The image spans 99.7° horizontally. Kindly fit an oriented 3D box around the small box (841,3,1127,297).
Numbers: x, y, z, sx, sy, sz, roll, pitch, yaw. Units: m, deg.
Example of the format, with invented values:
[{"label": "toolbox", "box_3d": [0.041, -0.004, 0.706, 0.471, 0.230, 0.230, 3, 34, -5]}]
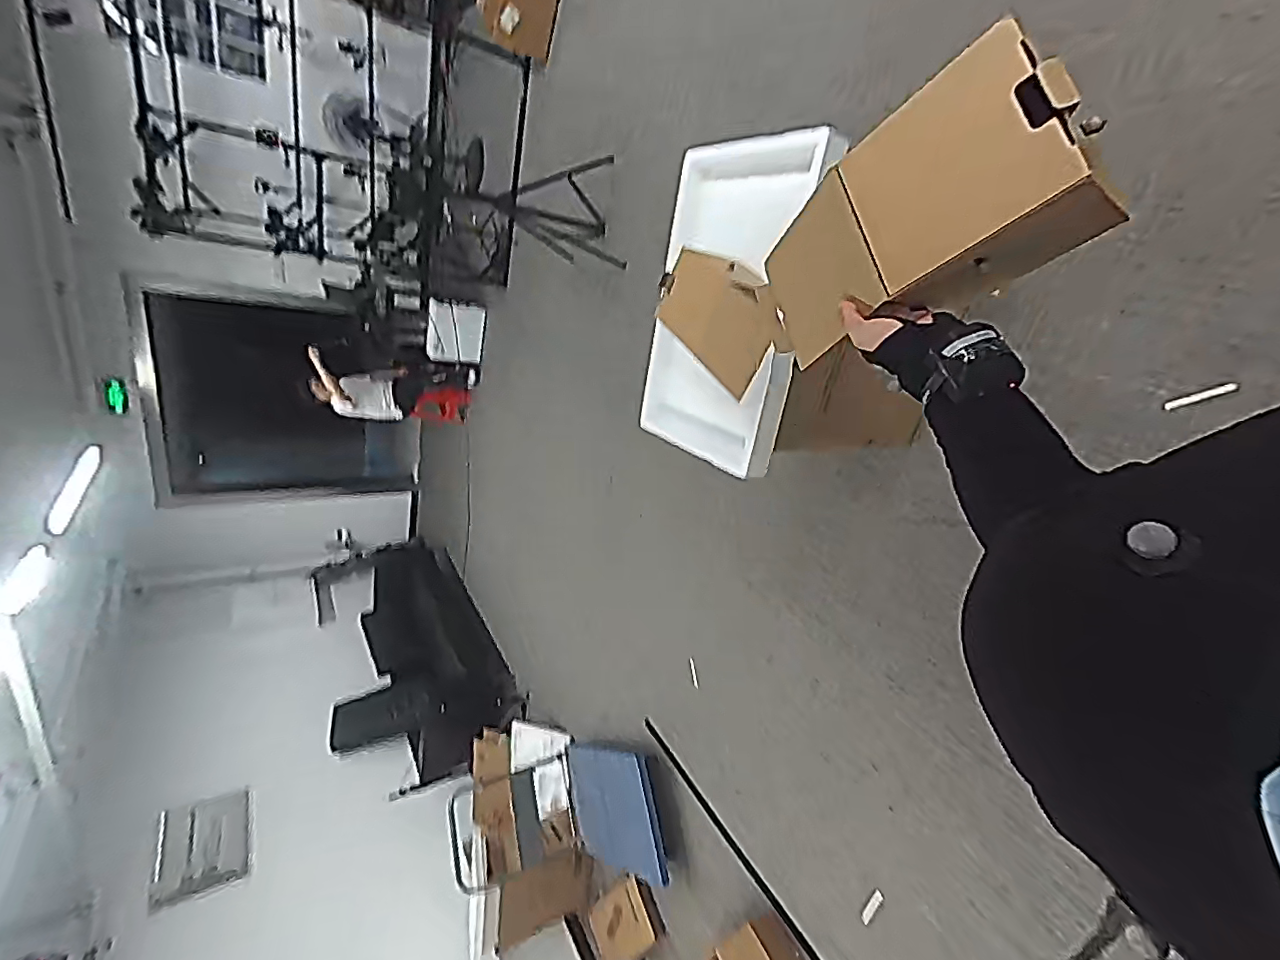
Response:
[{"label": "small box", "box_3d": [0.346, -0.306, 0.552, 0.179, 0.176, 0.168, -26, 78, 49]}]
